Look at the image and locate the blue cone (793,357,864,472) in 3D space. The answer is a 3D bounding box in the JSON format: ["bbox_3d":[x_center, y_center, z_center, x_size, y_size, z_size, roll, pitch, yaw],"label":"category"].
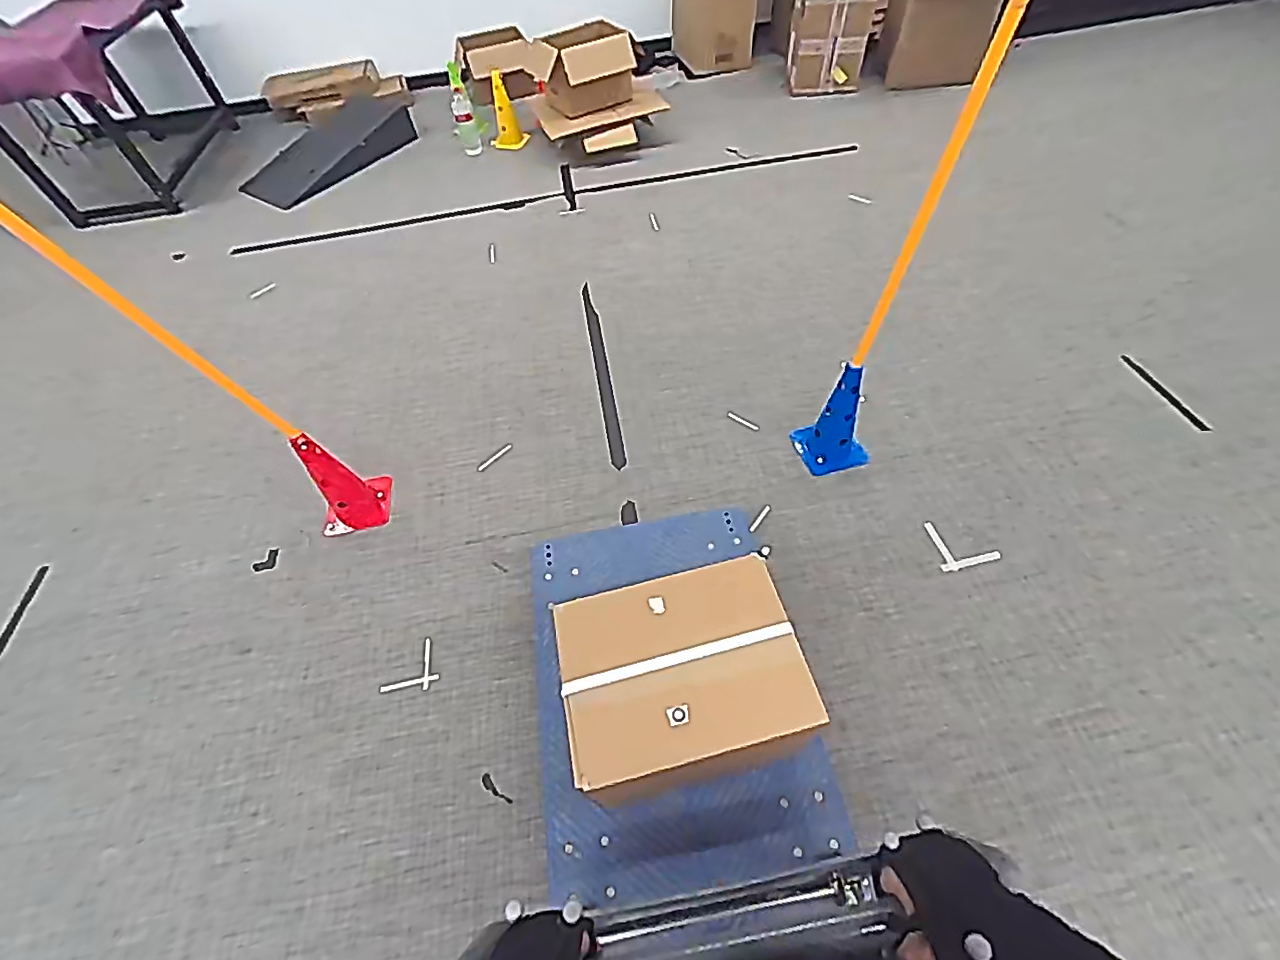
[{"bbox_3d":[0.607,-0.210,1.639,0.193,0.380,0.192,-14,53,-5],"label":"blue cone"}]
